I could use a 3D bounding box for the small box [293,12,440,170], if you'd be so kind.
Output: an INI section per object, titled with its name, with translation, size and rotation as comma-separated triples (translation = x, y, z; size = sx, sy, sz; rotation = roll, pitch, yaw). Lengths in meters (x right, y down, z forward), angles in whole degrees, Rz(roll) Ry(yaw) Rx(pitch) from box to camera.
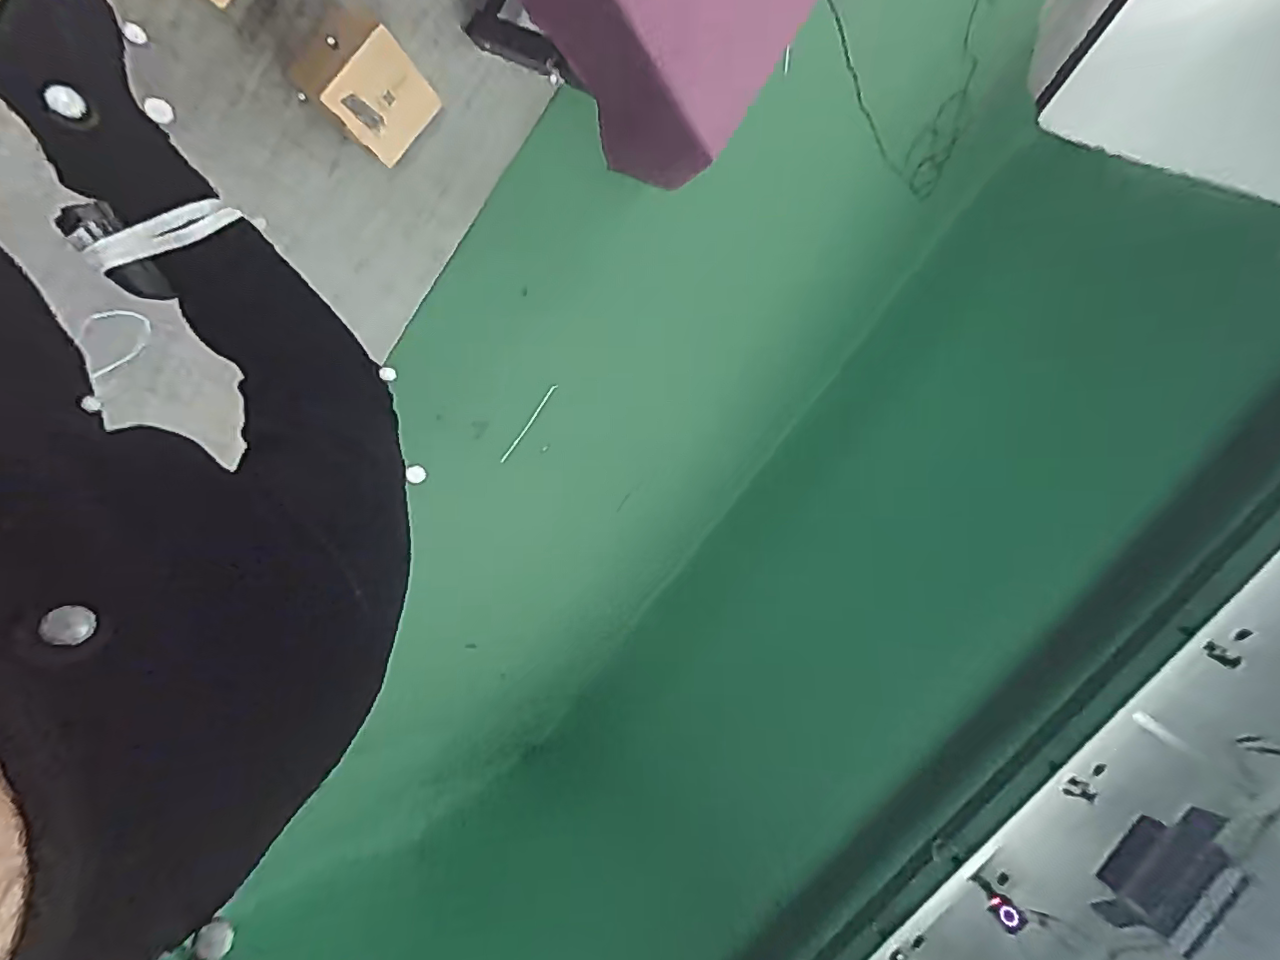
[small box]
translation = -0.542, -0.762, 1.062
size = 0.179, 0.176, 0.168
rotation = -50, 153, 1
